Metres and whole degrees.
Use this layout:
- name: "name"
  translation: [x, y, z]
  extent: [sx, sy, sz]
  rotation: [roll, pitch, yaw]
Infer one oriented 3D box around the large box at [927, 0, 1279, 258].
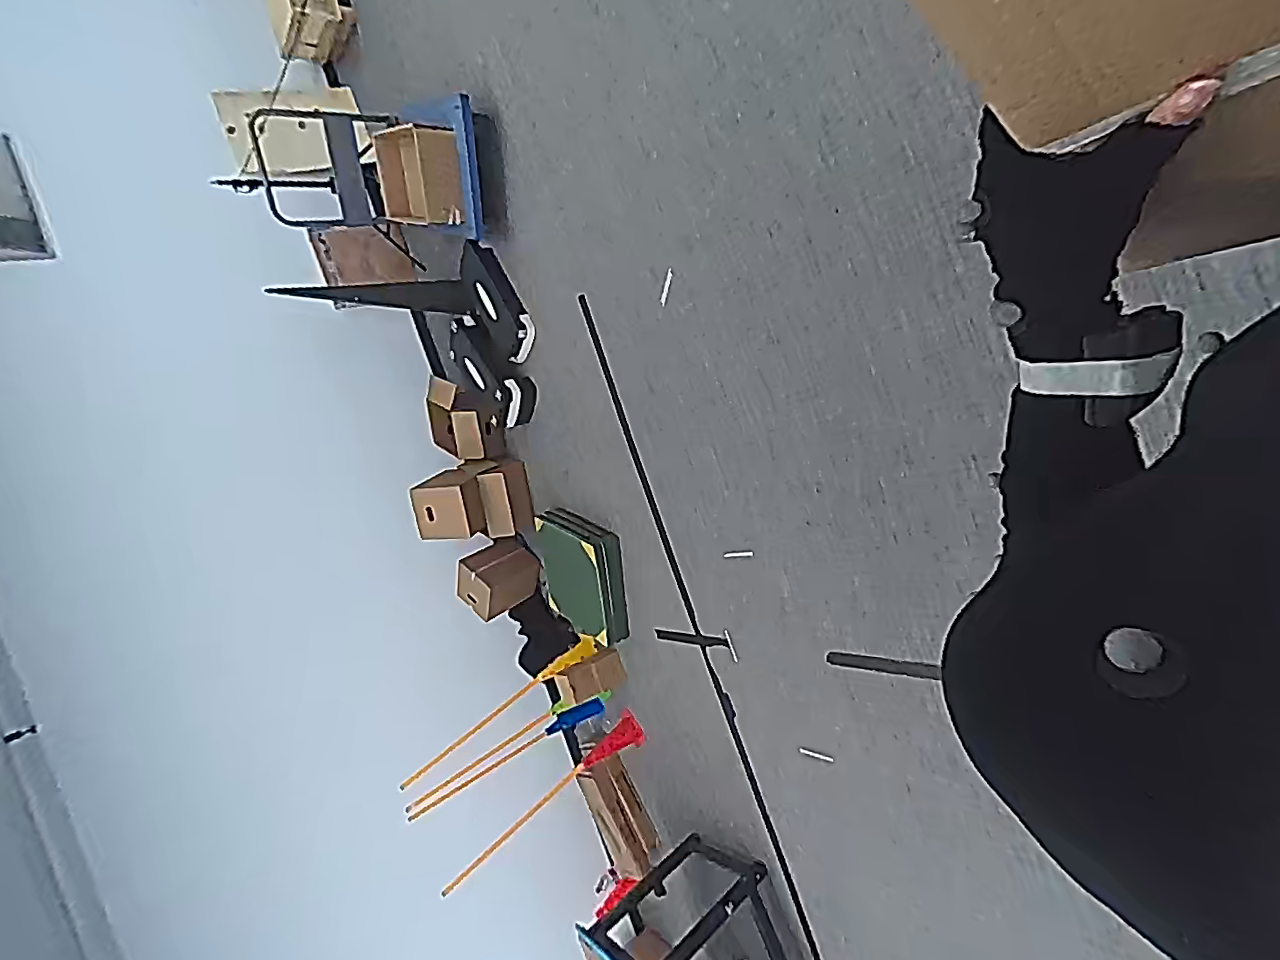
- name: "large box"
  translation: [0.365, -0.342, 0.169]
  extent: [0.408, 0.320, 0.320]
  rotation: [0, 78, 57]
